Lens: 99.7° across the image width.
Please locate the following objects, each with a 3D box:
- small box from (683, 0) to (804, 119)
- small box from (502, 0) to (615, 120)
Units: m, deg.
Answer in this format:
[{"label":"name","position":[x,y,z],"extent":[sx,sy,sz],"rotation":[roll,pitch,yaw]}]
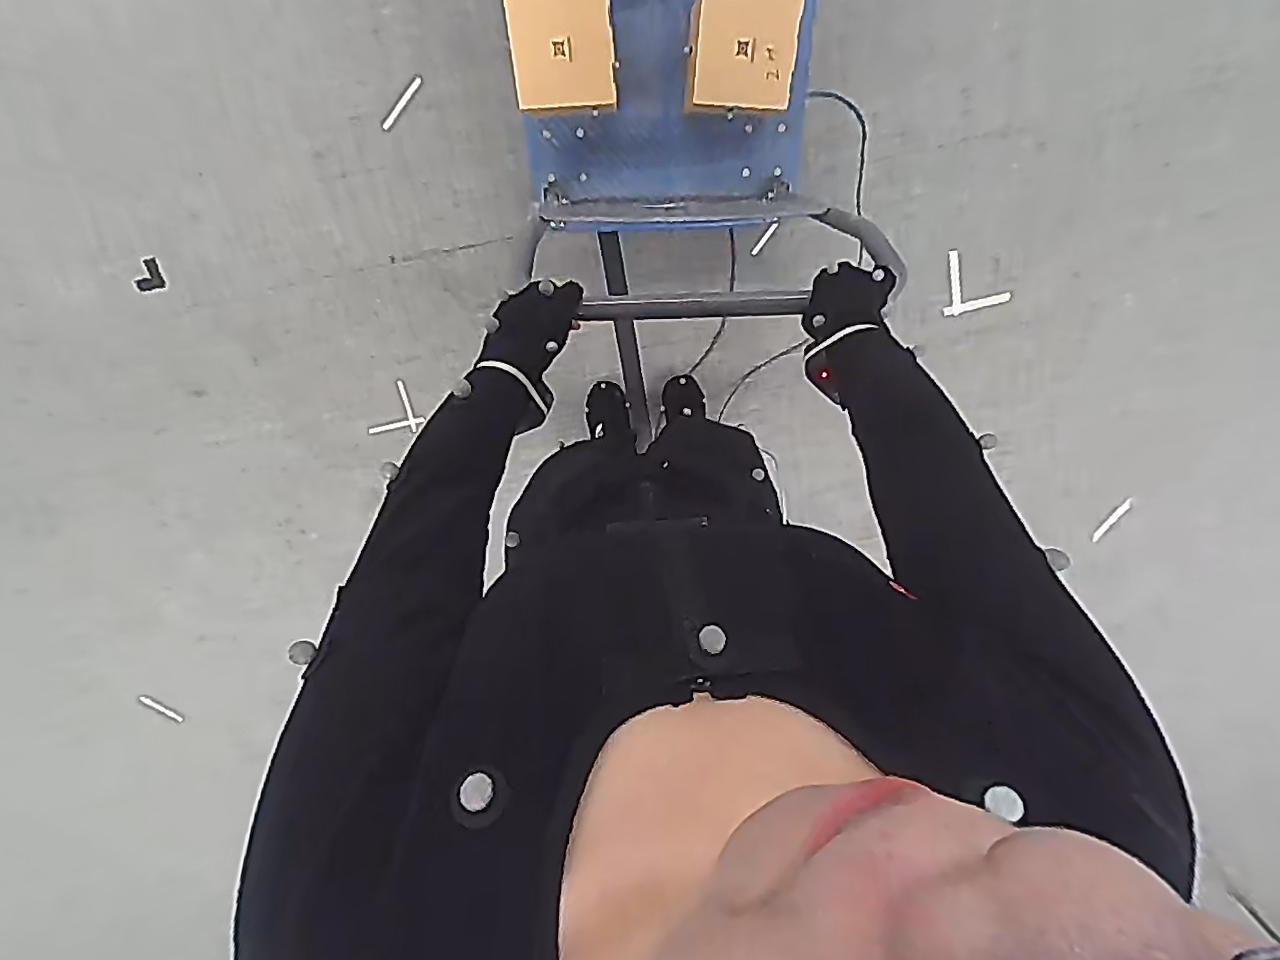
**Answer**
[{"label":"small box","position":[0.178,-0.774,0.998],"extent":[0.179,0.176,0.168],"rotation":[2,120,-4]},{"label":"small box","position":[-0.139,-0.766,0.986],"extent":[0.179,0.176,0.168],"rotation":[-6,120,-1]}]
